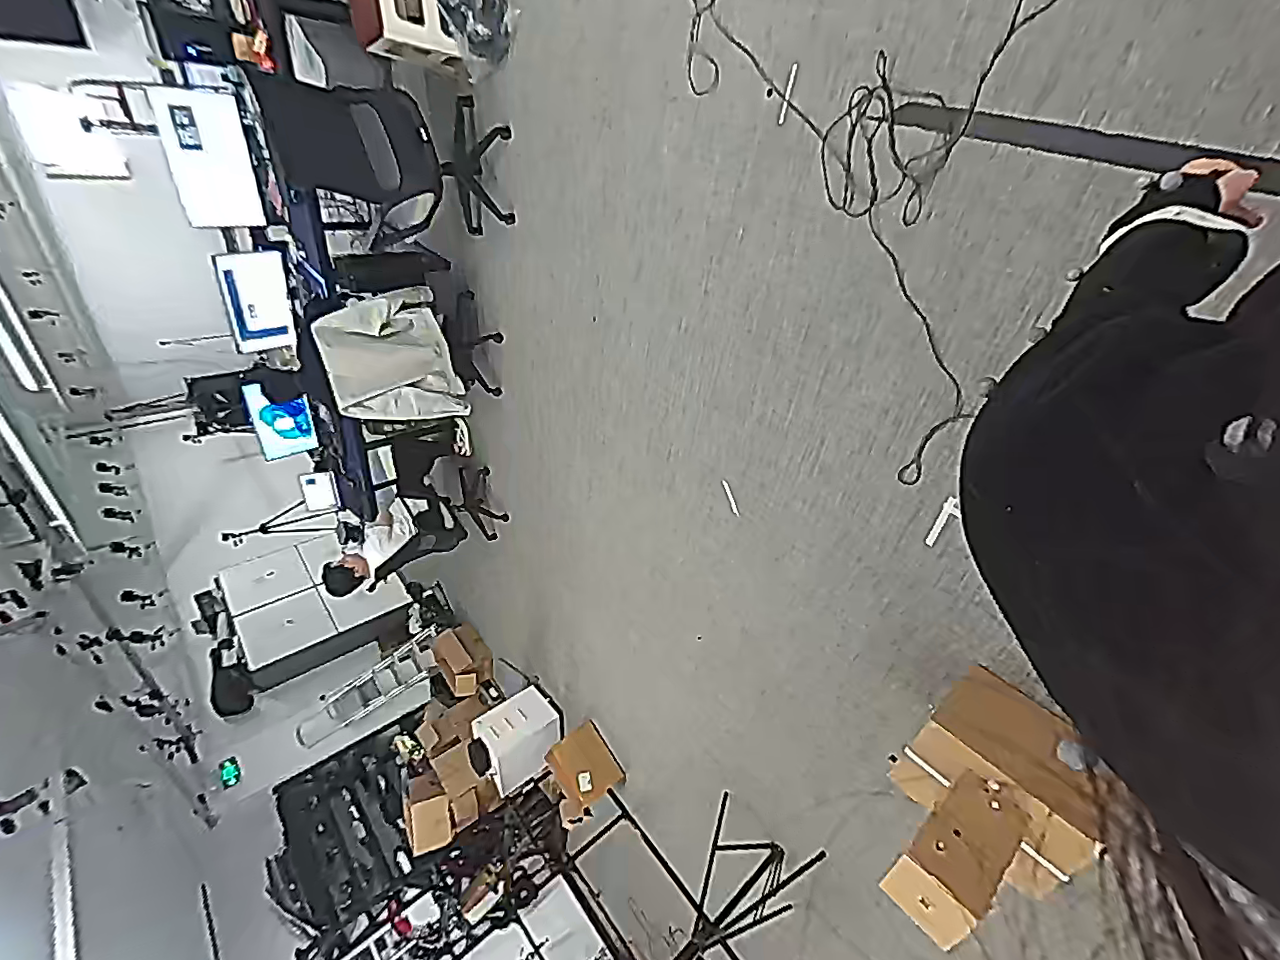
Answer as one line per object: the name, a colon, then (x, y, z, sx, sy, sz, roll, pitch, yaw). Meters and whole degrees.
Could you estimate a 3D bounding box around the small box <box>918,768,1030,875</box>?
small box: (0.820, 0.864, 1.335, 0.168, 0.176, 0.179, 36, 132, 36)

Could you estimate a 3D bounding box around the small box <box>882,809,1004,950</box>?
small box: (0.695, 0.905, 1.239, 0.168, 0.176, 0.179, 36, 134, 37)
